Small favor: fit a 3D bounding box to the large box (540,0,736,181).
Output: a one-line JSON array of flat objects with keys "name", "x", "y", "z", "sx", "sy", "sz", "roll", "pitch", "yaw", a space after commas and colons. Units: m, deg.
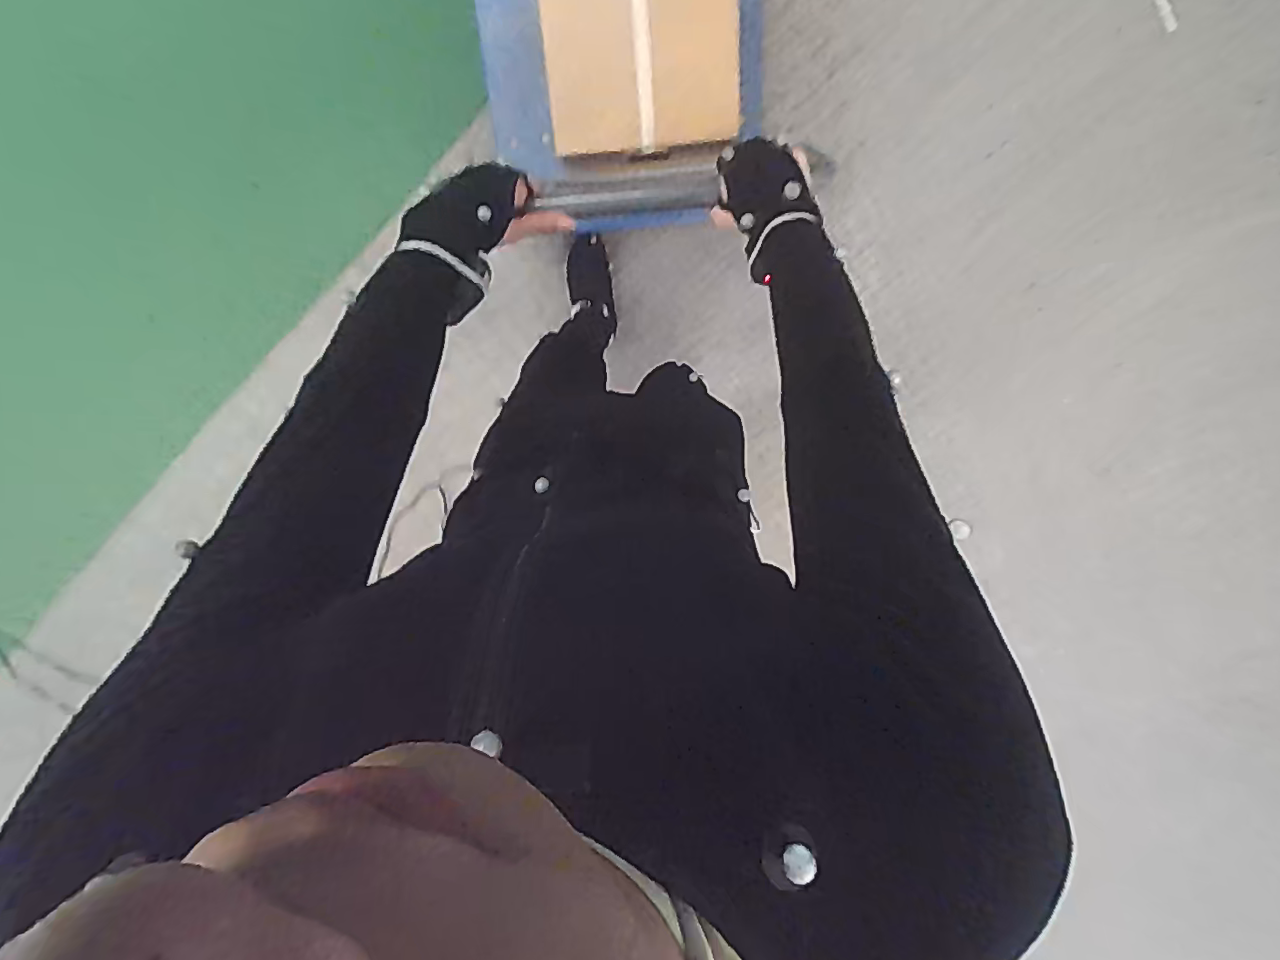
[{"name": "large box", "x": -0.002, "y": -0.816, "z": 1.000, "sx": 0.320, "sy": 0.320, "sz": 0.408, "roll": -4, "pitch": 111, "yaw": 2}]
